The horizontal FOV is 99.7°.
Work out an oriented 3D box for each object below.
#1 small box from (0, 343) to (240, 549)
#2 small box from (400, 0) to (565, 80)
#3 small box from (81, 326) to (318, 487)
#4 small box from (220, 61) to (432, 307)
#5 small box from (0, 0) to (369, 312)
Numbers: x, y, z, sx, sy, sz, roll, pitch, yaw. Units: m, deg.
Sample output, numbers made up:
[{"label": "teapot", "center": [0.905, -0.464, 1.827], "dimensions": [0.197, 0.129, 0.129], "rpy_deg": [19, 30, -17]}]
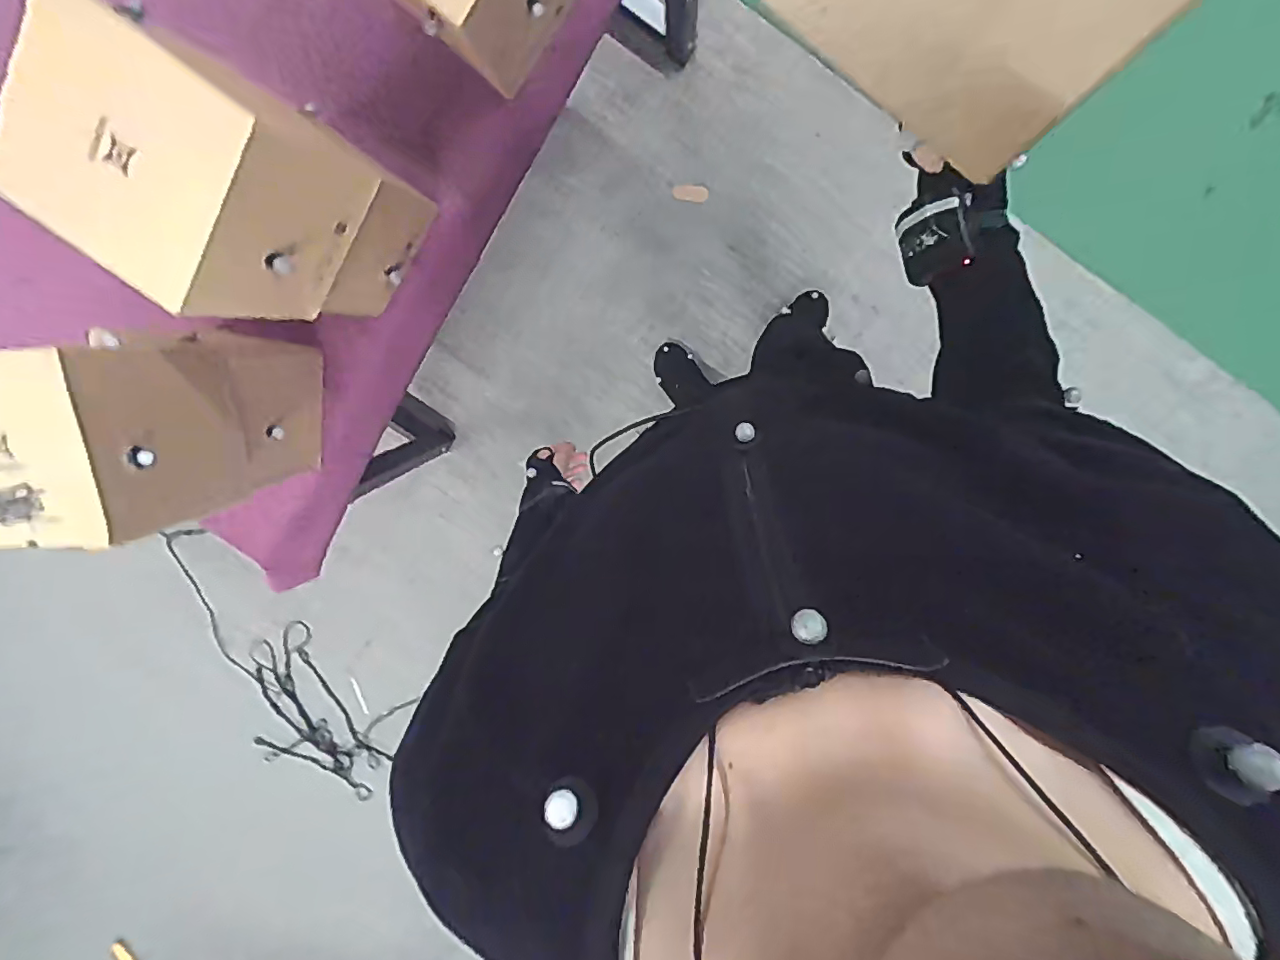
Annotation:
[{"label": "small box", "center": [-0.542, -0.043, 0.535], "dimensions": [0.168, 0.176, 0.179], "rpy_deg": [-1, 103, 4]}, {"label": "small box", "center": [-0.179, -0.554, 0.546], "dimensions": [0.179, 0.176, 0.168], "rpy_deg": [39, 103, -7]}, {"label": "small box", "center": [-0.543, -0.095, 0.692], "dimensions": [0.168, 0.176, 0.179], "rpy_deg": [10, 105, 1]}, {"label": "small box", "center": [-0.382, -0.315, 0.625], "dimensions": [0.179, 0.176, 0.168], "rpy_deg": [35, 105, -5]}, {"label": "small box", "center": [-0.379, -0.265, 0.469], "dimensions": [0.179, 0.176, 0.168], "rpy_deg": [35, 106, -4]}]
